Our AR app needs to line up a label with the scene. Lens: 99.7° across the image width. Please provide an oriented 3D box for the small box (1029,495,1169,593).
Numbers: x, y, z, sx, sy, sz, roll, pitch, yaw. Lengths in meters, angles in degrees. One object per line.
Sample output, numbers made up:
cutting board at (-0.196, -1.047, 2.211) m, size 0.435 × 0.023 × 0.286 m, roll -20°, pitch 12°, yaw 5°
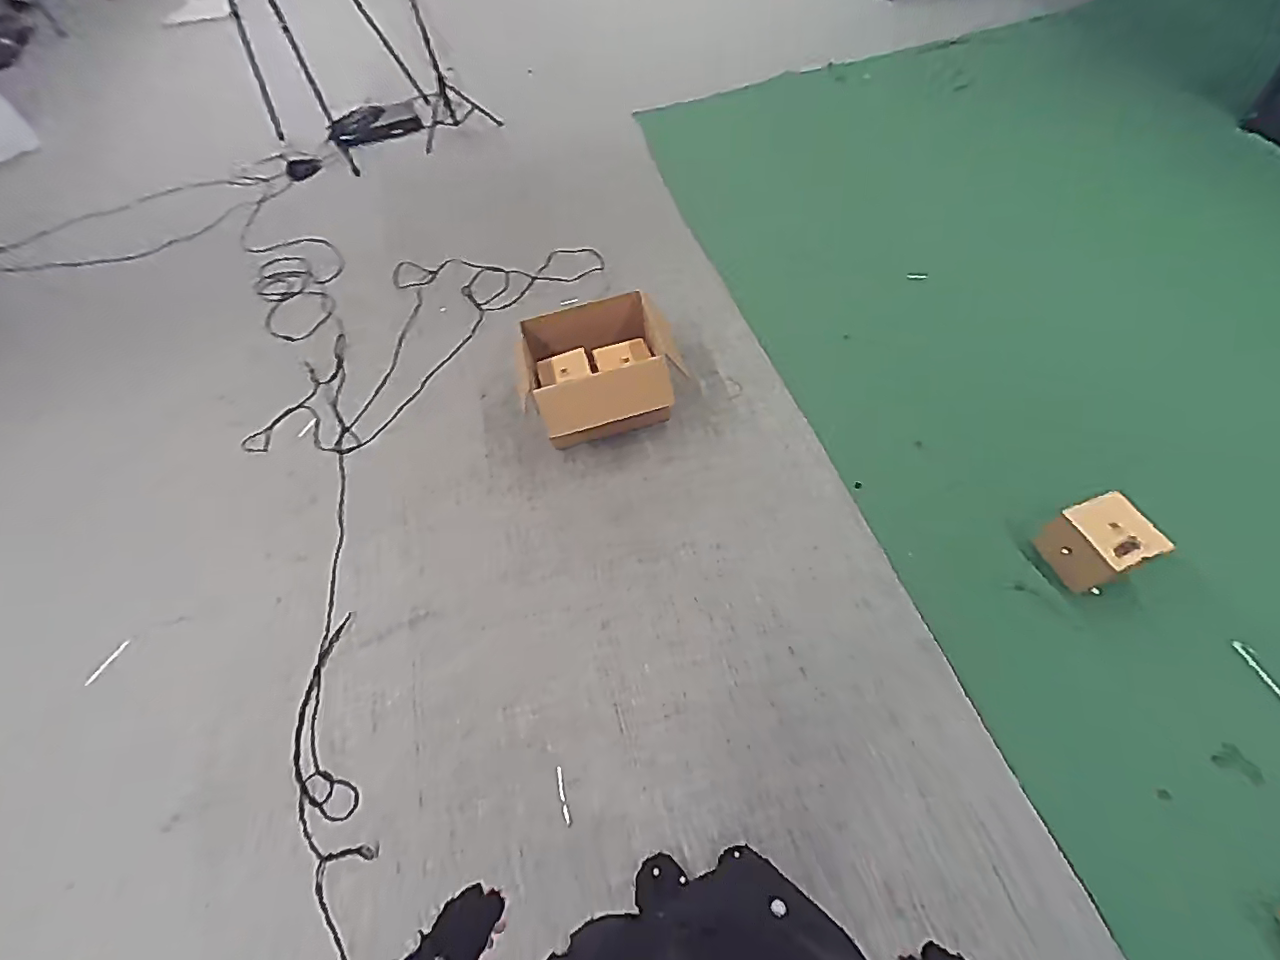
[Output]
small box at (1.157, 0.172, 1.379) m, size 0.168 × 0.176 × 0.179 m, roll -19°, pitch 57°, yaw -6°
